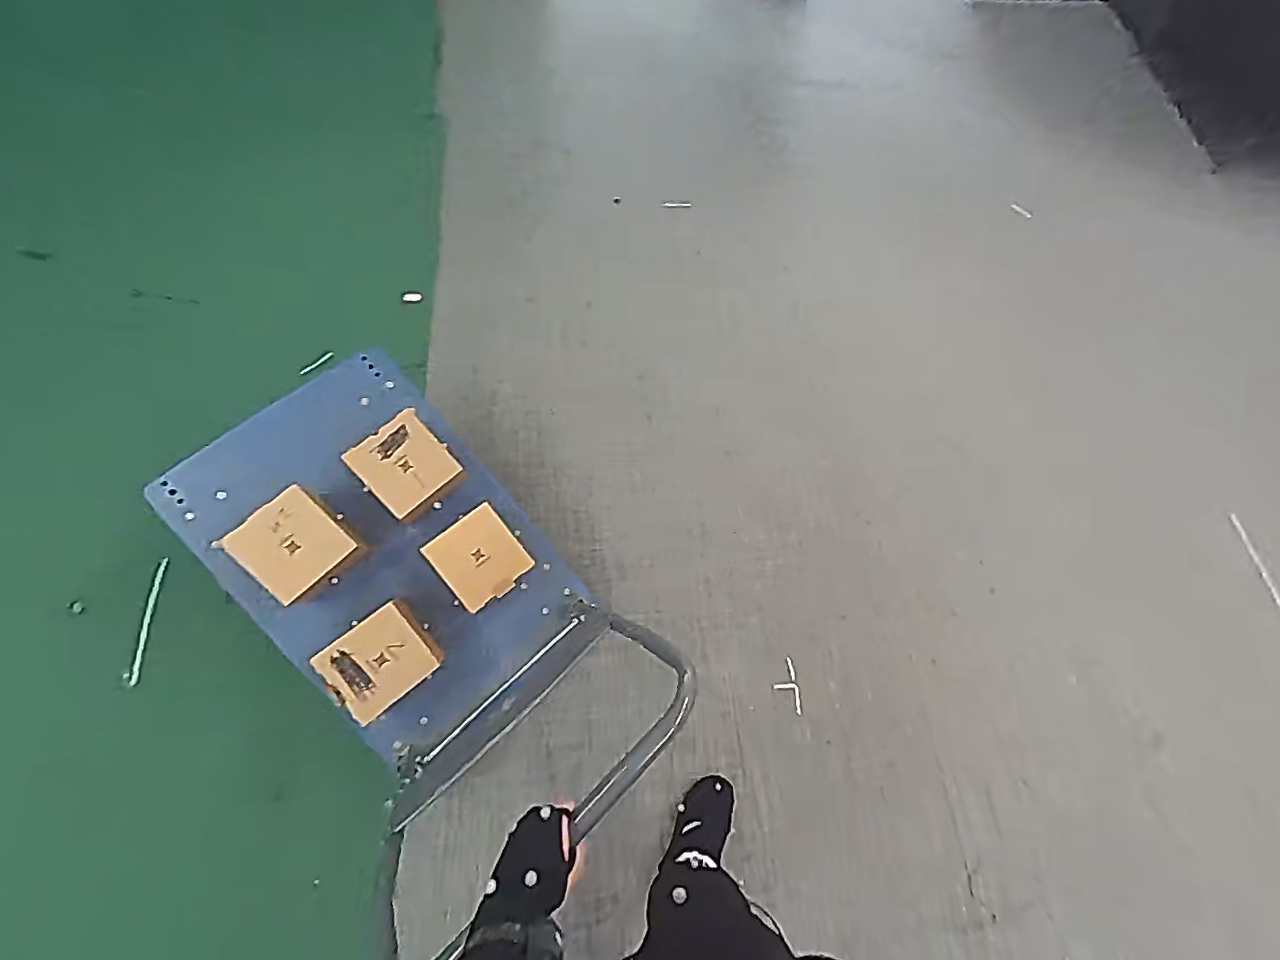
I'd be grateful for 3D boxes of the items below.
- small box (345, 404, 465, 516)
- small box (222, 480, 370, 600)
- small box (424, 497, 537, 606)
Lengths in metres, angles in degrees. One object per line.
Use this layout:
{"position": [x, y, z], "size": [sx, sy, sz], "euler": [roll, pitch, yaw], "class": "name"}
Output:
{"position": [-0.508, -0.035, 1.196], "size": [0.168, 0.176, 0.179], "euler": [-42, 95, -17], "class": "small box"}
{"position": [-0.692, 0.124, 1.116], "size": [0.179, 0.176, 0.168], "euler": [47, 71, -5], "class": "small box"}
{"position": [-0.356, 0.162, 1.211], "size": [0.168, 0.176, 0.179], "euler": [-38, 94, -18], "class": "small box"}
